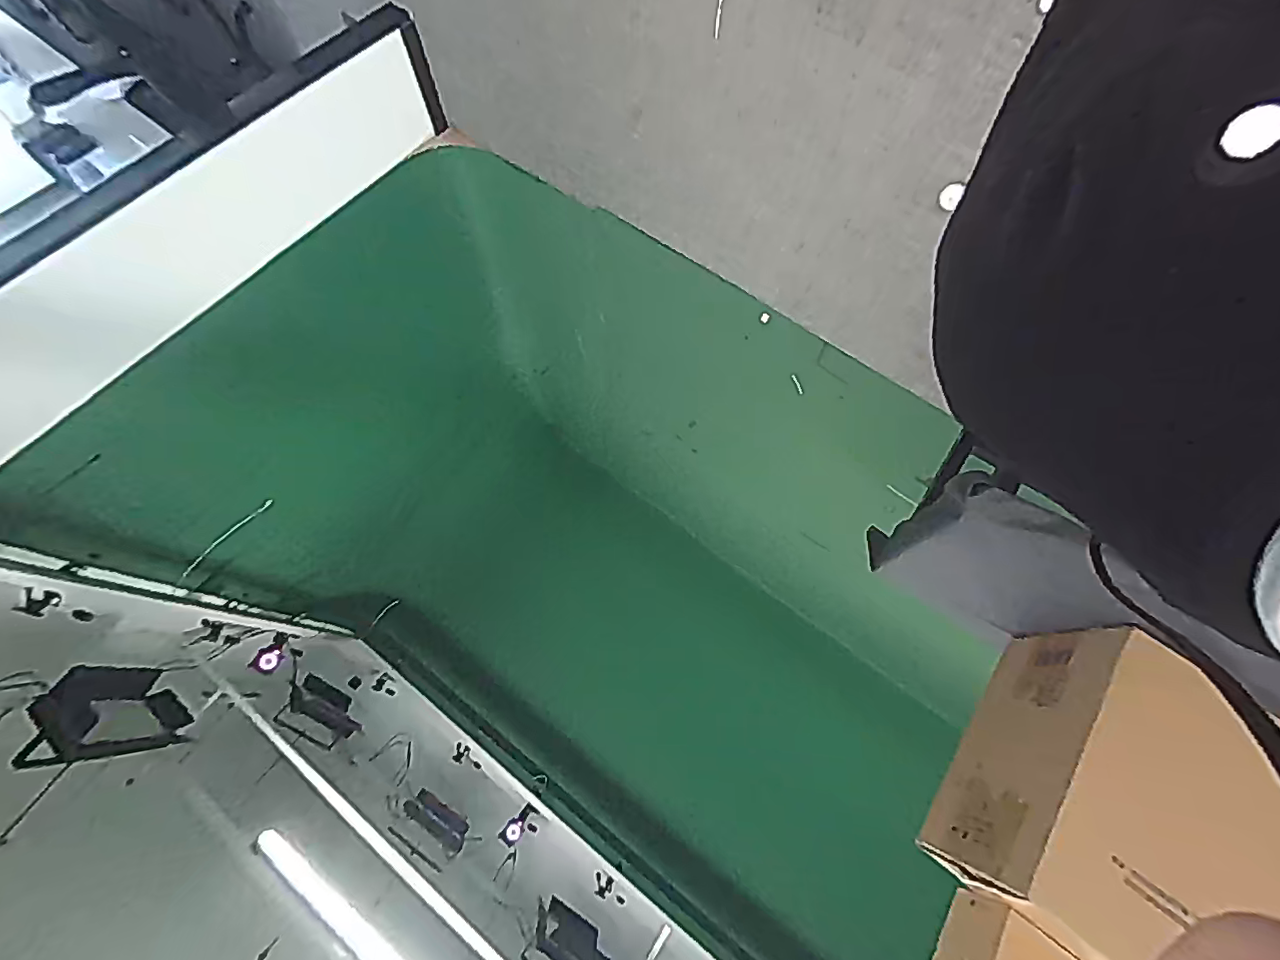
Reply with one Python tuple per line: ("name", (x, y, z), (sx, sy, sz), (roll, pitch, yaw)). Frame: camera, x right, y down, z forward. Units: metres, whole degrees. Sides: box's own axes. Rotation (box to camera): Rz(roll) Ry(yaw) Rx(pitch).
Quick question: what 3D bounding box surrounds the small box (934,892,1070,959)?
("small box", (0.749, 0.999, 1.103), (0.179, 0.176, 0.168), (36, 155, 10))
